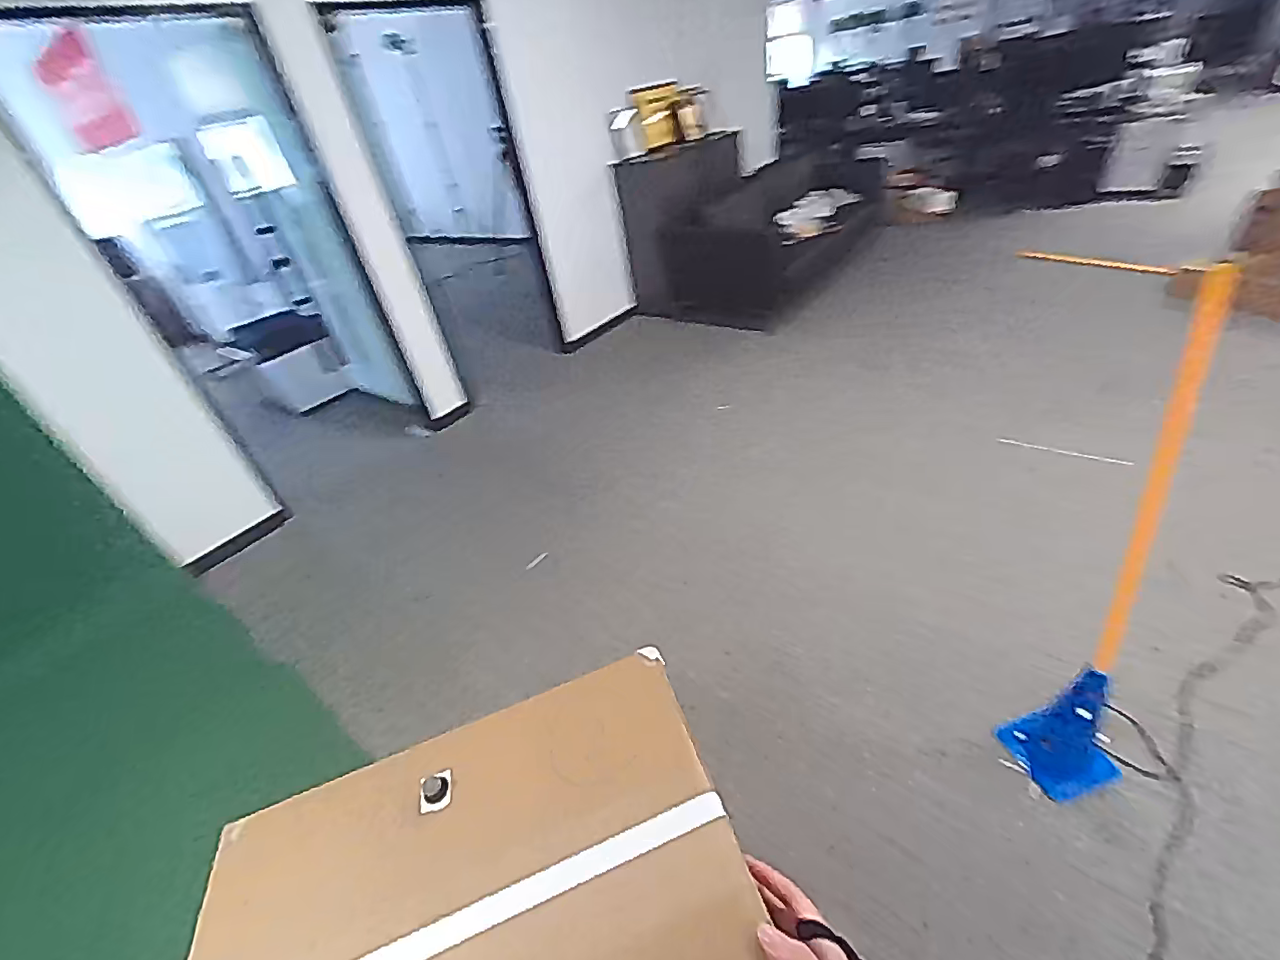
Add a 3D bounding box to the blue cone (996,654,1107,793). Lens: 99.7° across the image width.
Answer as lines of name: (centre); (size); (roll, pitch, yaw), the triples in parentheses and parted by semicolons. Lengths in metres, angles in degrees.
blue cone: (1.019, 0.551, 1.284); (0.193, 0.380, 0.192); (-19, 35, -10)
